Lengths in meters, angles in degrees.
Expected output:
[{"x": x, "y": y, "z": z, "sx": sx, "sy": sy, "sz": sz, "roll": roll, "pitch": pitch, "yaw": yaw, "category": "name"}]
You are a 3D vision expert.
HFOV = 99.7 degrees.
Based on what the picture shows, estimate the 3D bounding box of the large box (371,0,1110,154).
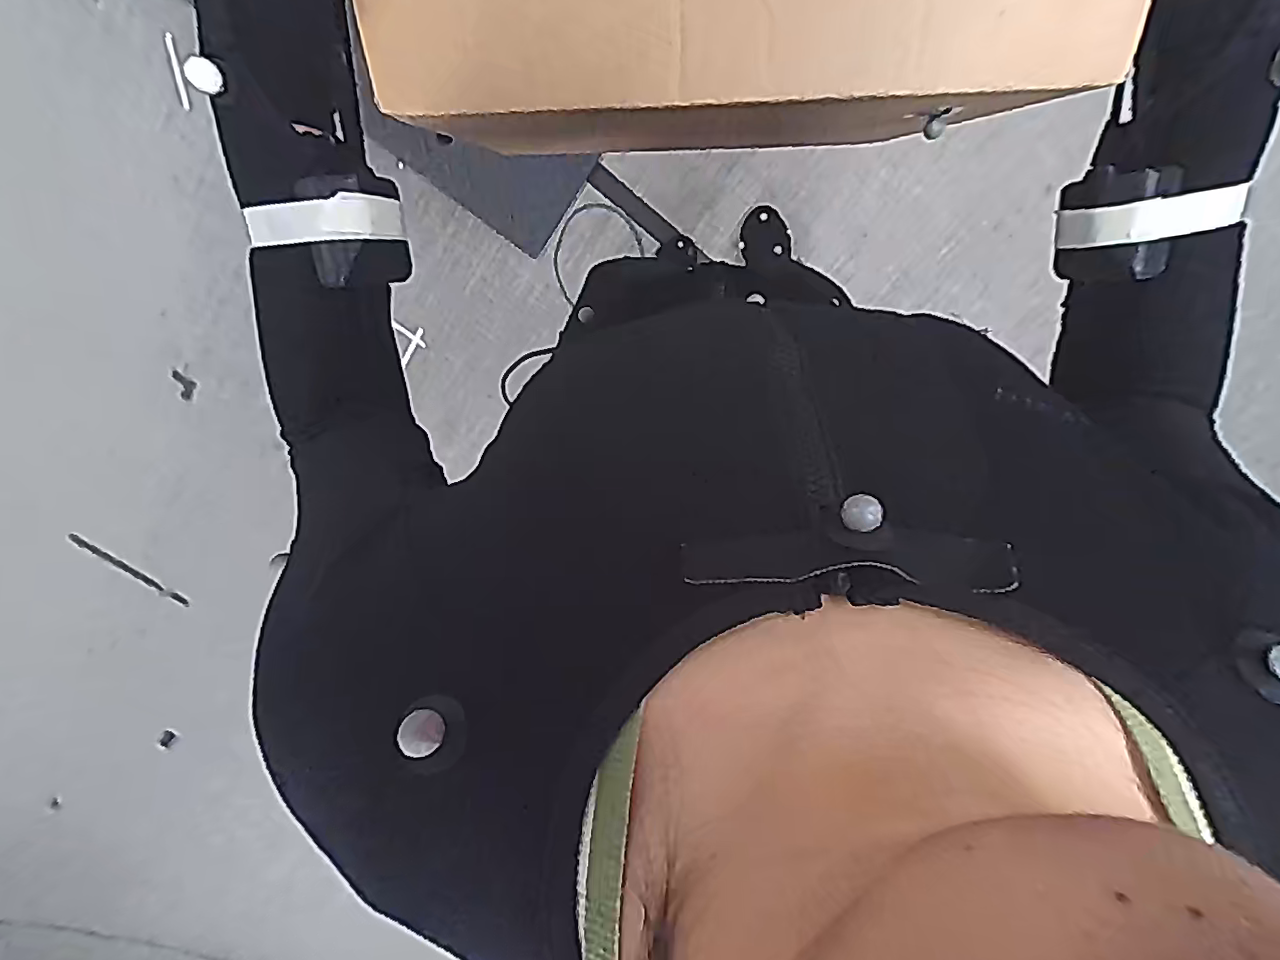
[{"x": 0.049, "y": -0.421, "z": 0.370, "sx": 0.408, "sy": 0.320, "sz": 0.320, "roll": -3, "pitch": 117, "yaw": 1, "category": "large box"}]

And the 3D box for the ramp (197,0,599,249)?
[{"x": -0.507, "y": -0.984, "z": 1.074, "sx": 0.991, "sy": 0.206, "sz": 0.509, "roll": 34, "pitch": 110, "yaw": -12, "category": "ramp"}]
